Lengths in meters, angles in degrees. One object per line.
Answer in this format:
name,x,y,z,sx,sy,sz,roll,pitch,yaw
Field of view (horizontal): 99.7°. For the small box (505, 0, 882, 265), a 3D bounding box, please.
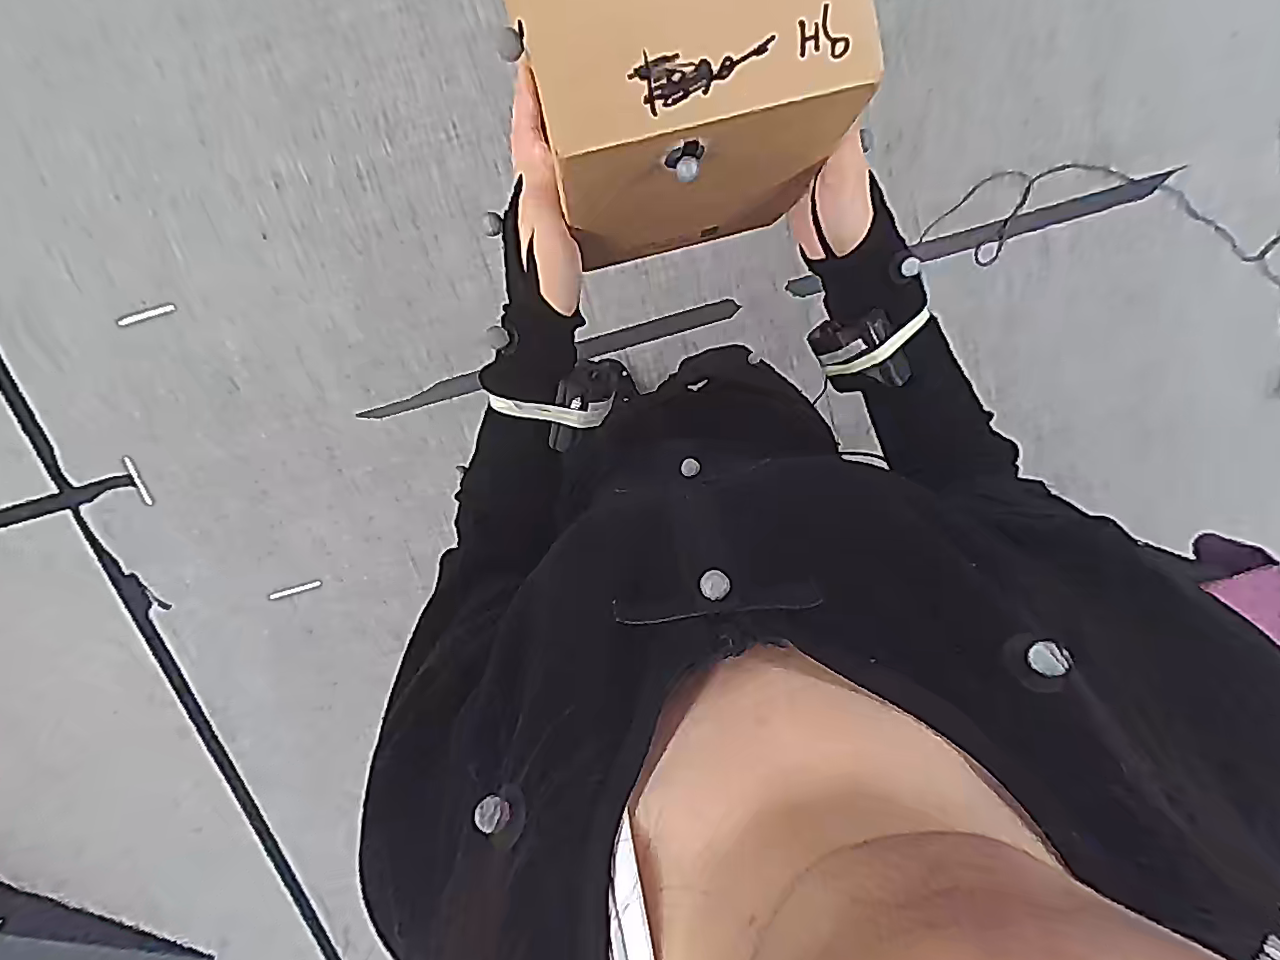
small box,0.011,-0.260,0.329,0.168,0.176,0.179,-15,94,-2
